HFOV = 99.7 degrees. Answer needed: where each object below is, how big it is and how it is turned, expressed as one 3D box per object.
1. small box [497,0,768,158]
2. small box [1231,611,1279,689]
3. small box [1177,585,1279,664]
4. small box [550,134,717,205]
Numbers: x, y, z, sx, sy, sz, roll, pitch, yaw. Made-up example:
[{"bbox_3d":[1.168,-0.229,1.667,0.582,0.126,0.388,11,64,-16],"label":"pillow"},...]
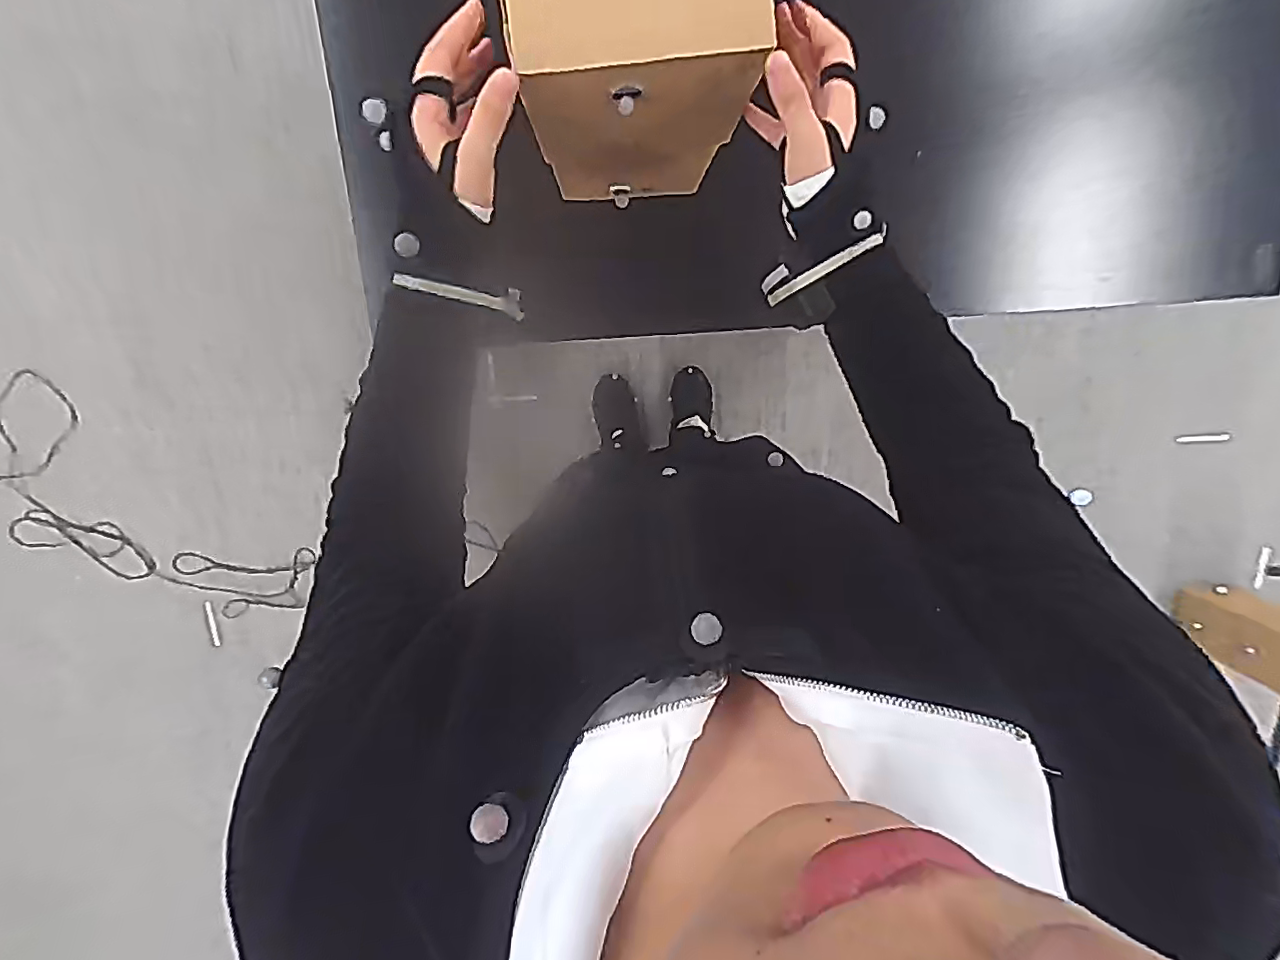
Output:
[{"bbox_3d":[-0.012,-0.371,0.417,0.179,0.176,0.168,-7,103,0],"label":"small box"},{"bbox_3d":[1.747,0.455,1.426,0.179,0.176,0.168,-2,103,-1],"label":"small box"},{"bbox_3d":[1.748,0.419,1.588,0.179,0.176,0.168,-4,104,0],"label":"small box"},{"bbox_3d":[-0.016,-0.415,0.576,0.168,0.176,0.179,-6,104,0],"label":"small box"}]
